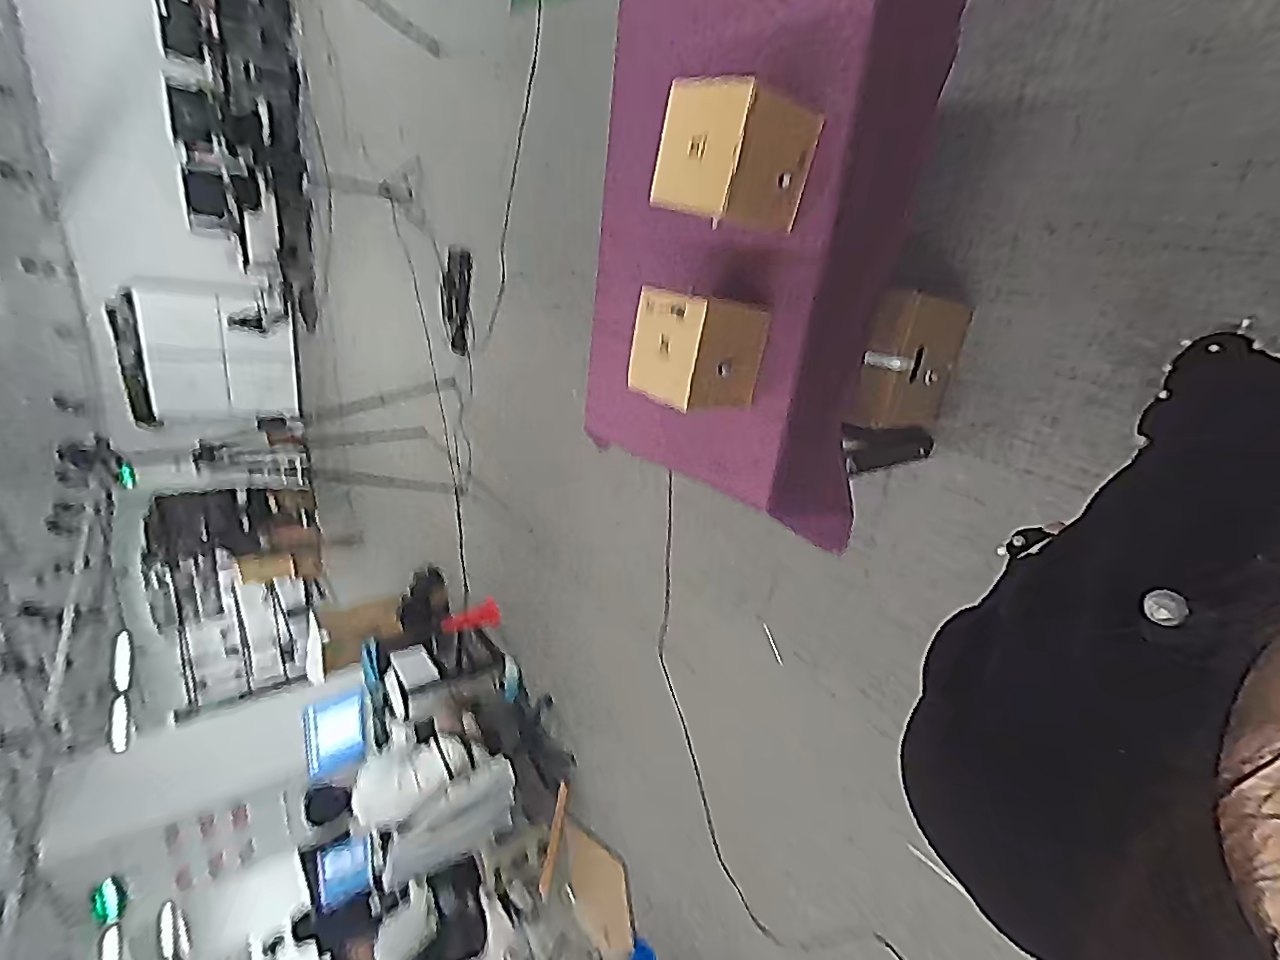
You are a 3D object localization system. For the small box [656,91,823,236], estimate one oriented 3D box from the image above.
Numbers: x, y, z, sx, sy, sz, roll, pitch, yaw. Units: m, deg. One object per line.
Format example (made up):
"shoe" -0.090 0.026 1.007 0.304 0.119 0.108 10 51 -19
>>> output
"small box" 0.157 -0.502 0.870 0.179 0.176 0.168 36 124 40

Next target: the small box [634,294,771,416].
"small box" 0.112 -0.227 0.974 0.168 0.176 0.179 31 121 43
